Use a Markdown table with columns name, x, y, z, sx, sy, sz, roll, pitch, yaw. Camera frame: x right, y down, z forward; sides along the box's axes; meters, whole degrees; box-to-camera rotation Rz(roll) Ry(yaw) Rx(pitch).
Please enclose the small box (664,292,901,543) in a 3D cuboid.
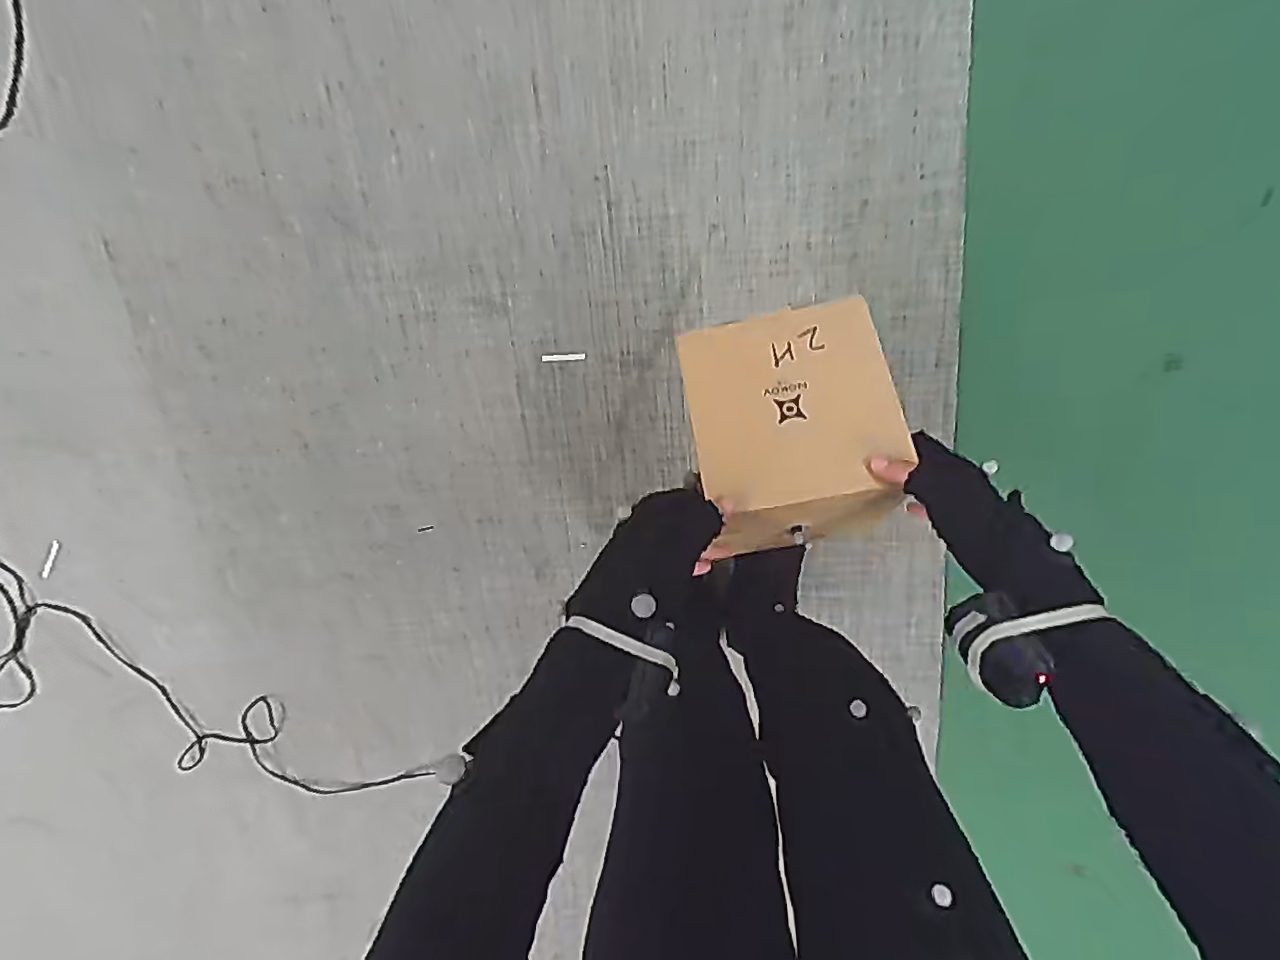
| name | x | y | z | sx | sy | sz | roll | pitch | yaw |
| --- | --- | --- | --- | --- | --- | --- | --- | --- | --- |
| small box | 0.124 | -0.044 | 0.521 | 0.168 | 0.176 | 0.179 | -10 | 70 | 6 |
